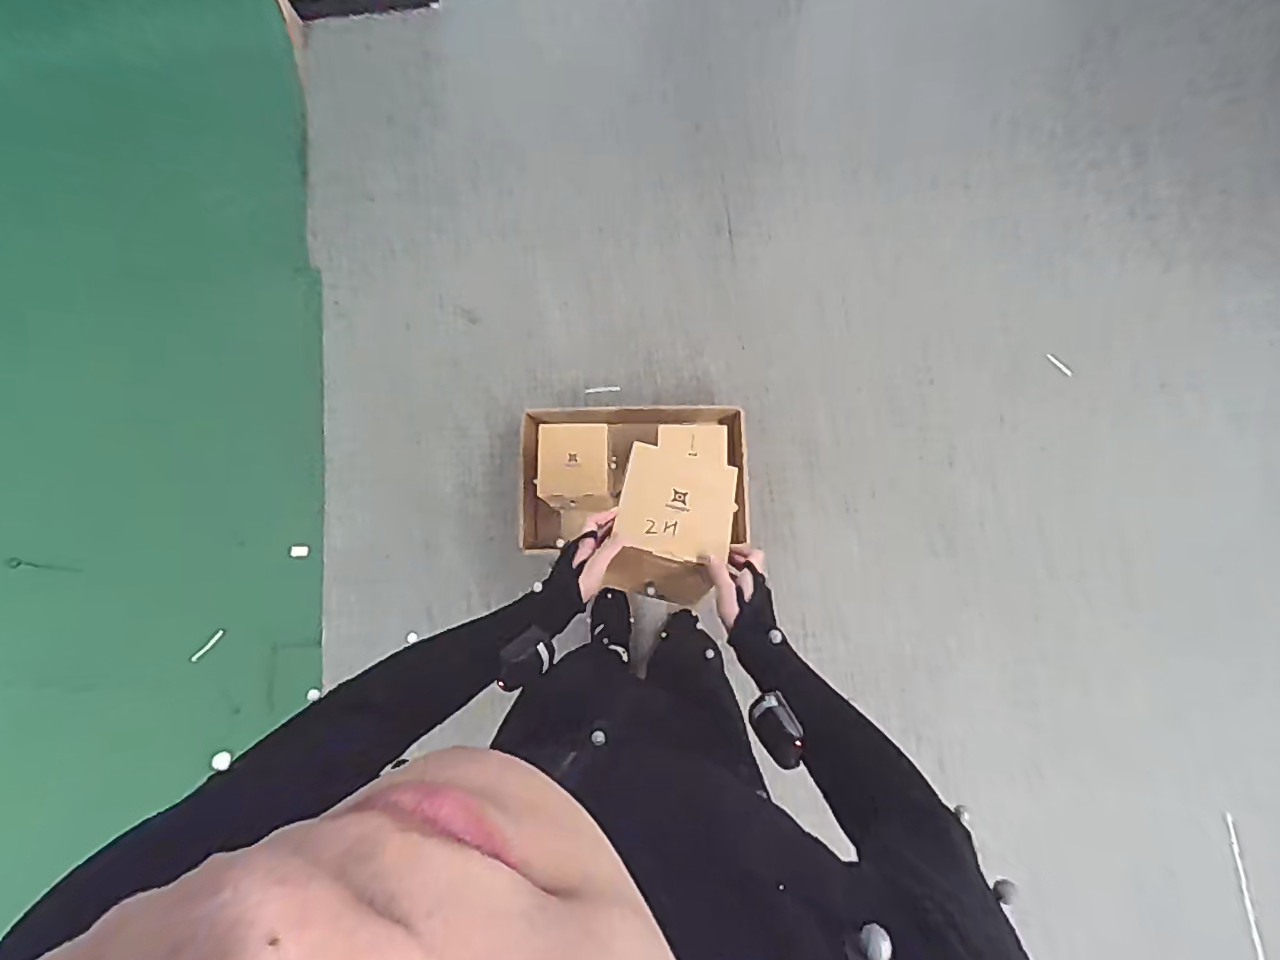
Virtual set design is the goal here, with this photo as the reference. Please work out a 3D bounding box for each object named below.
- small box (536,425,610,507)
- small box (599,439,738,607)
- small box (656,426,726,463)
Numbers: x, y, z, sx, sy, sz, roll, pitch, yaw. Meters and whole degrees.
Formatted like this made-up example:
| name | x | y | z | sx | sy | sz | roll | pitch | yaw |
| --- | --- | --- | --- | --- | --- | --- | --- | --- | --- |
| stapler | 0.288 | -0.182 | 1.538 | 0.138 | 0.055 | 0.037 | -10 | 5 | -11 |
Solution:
| name | x | y | z | sx | sy | sz | roll | pitch | yaw |
| --- | --- | --- | --- | --- | --- | --- | --- | --- | --- |
| small box | -0.162 | -0.030 | 1.342 | 0.168 | 0.176 | 0.179 | -1 | 81 | 0 |
| small box | 0.039 | 0.071 | 0.825 | 0.168 | 0.176 | 0.179 | 14 | 58 | -2 |
| small box | 0.121 | -0.029 | 1.337 | 0.168 | 0.176 | 0.179 | 1 | 81 | 2 |
